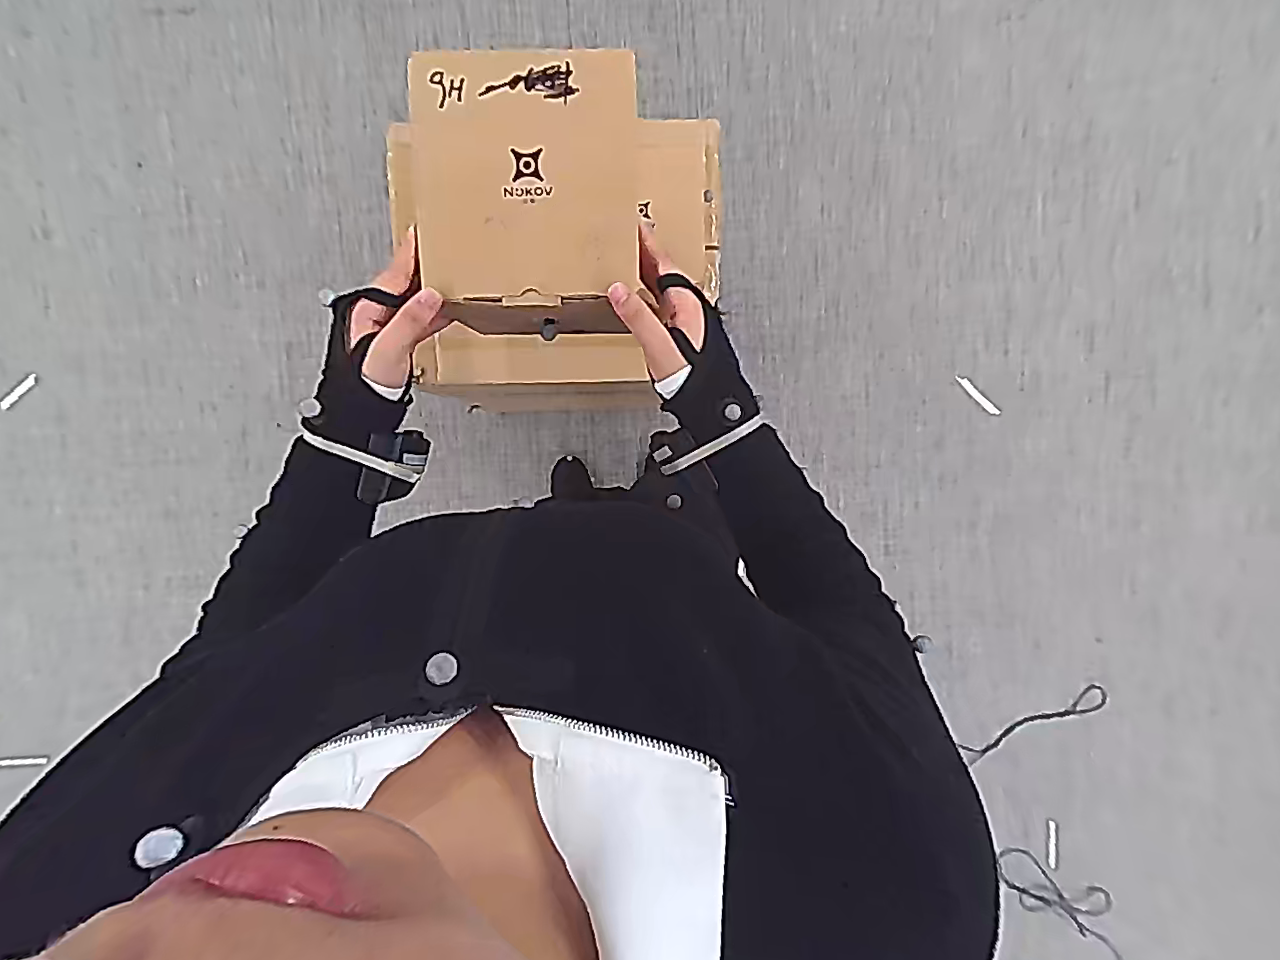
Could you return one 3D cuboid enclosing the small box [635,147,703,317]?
[{"bbox_3d":[-0.003,-0.343,0.774,0.168,0.176,0.179,-2,94,0],"label":"small box"}]

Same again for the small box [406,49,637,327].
[{"bbox_3d":[-0.086,-0.233,0.478,0.168,0.176,0.179,-2,97,-1],"label":"small box"}]
